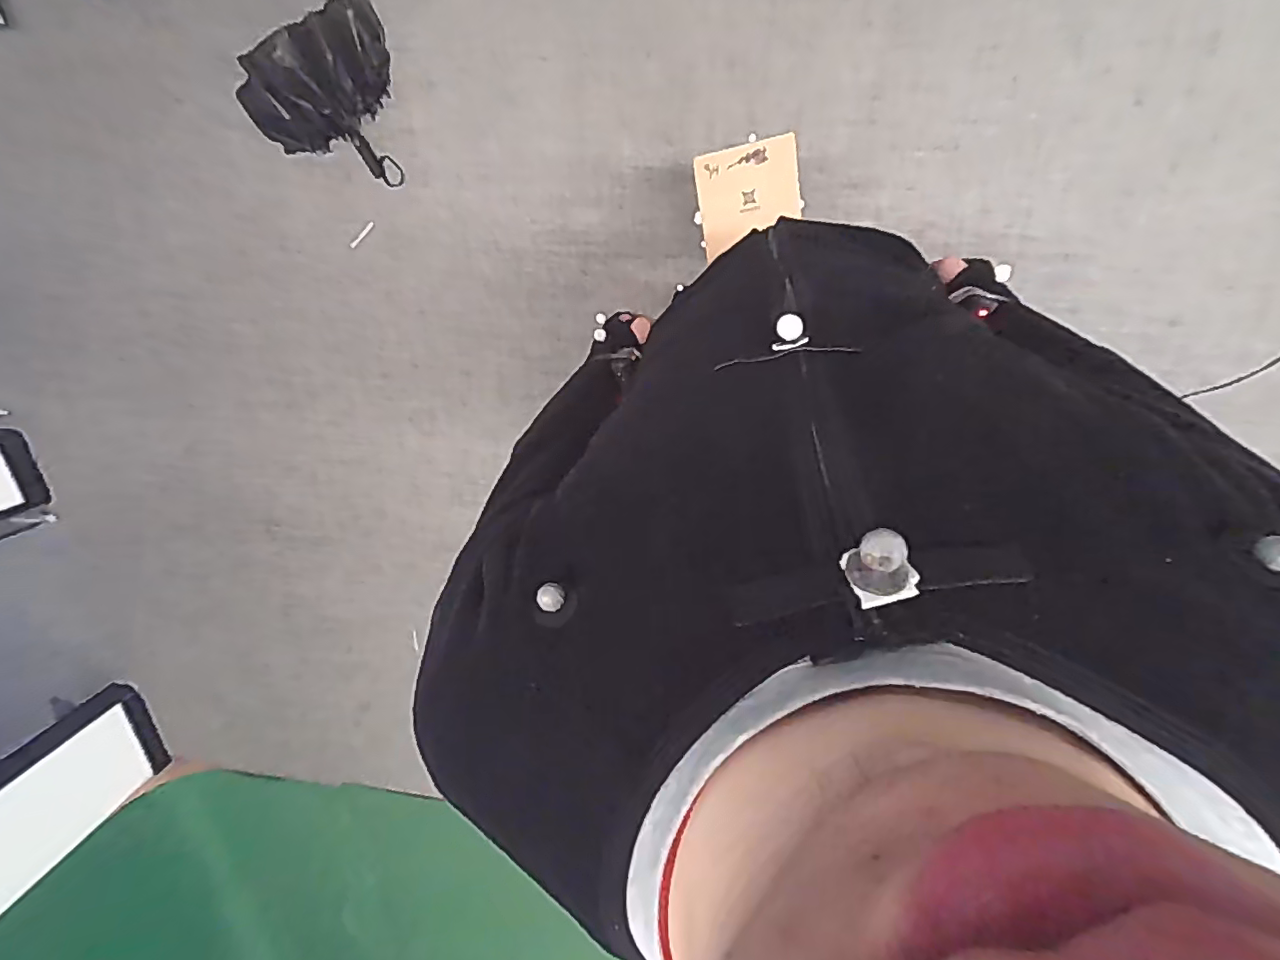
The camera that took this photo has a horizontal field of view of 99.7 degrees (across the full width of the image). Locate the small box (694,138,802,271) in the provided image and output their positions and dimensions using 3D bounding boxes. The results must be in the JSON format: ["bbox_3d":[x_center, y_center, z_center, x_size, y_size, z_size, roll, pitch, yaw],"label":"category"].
[{"bbox_3d":[0.196,-0.488,0.972,0.168,0.176,0.179,-7,113,13],"label":"small box"}]
